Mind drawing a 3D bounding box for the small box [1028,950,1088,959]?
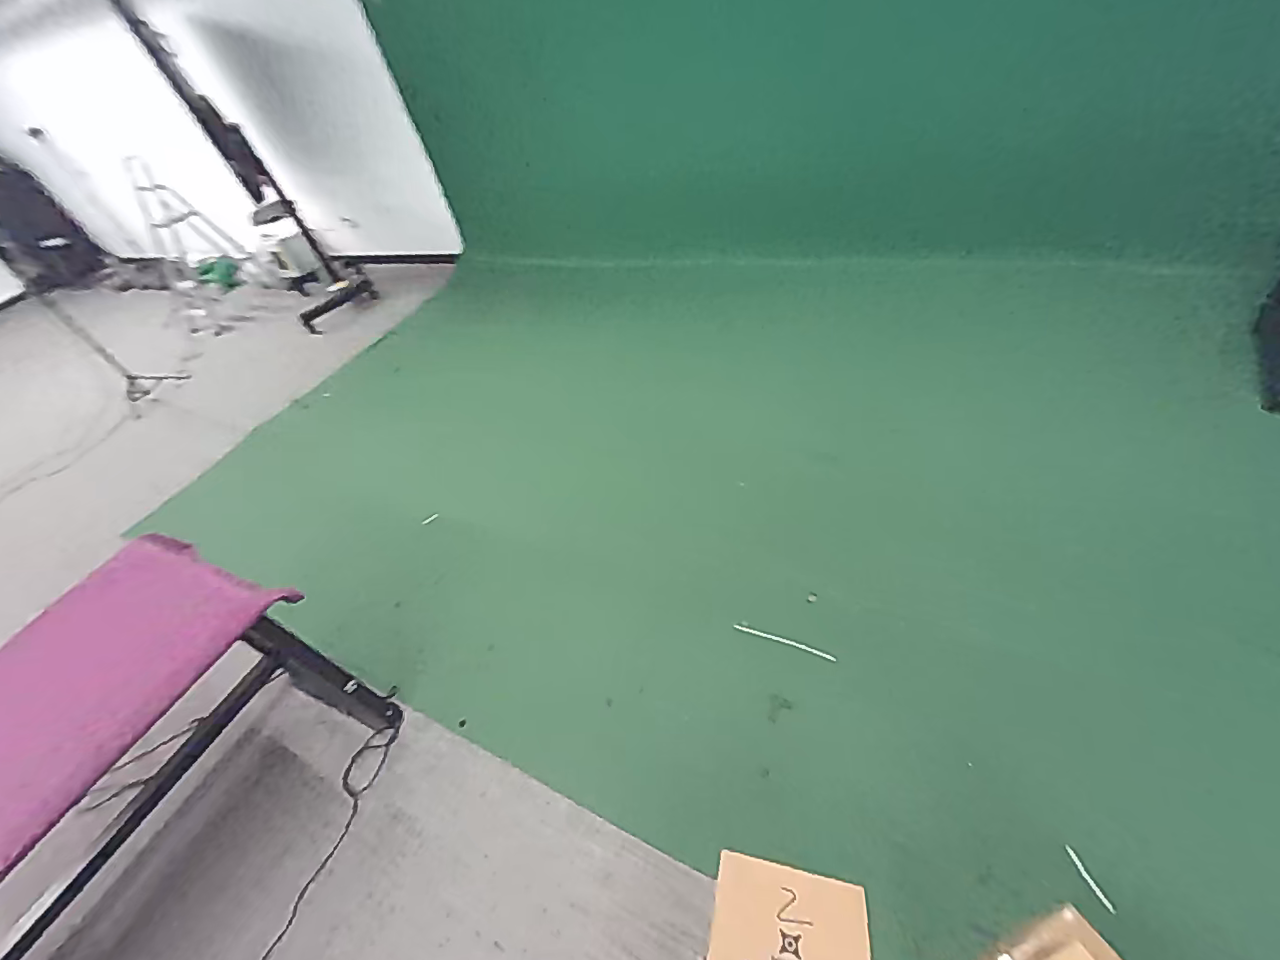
[{"bbox_3d":[0.606,0.813,0.770,0.179,0.176,0.168,-28,47,-9],"label":"small box"}]
